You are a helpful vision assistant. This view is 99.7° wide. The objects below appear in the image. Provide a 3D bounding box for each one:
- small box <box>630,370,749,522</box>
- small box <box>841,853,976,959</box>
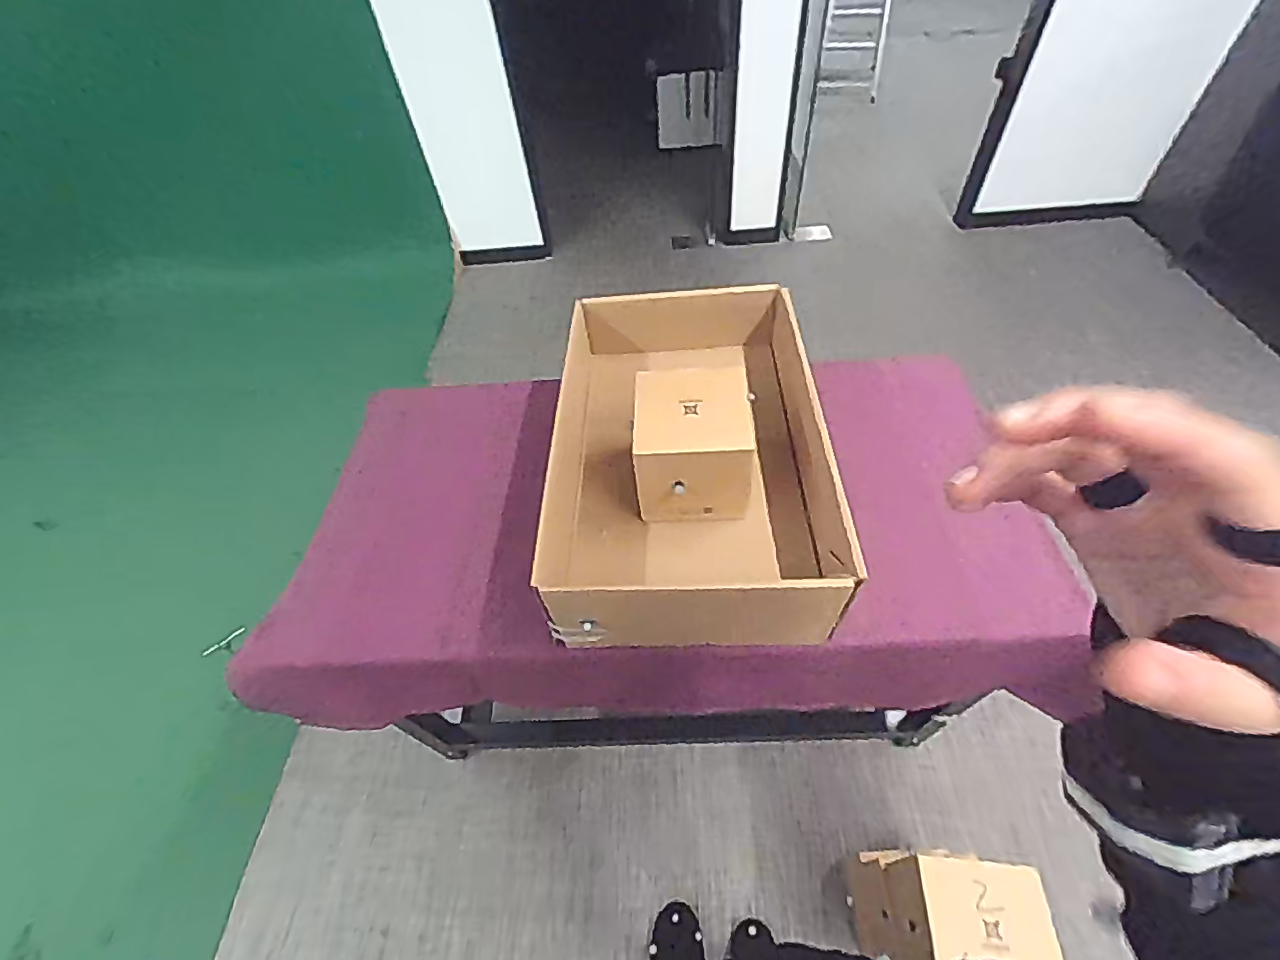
[{"bbox_3d":[0.078,-0.046,0.841,0.168,0.176,0.179,-3,50,5],"label":"small box"},{"bbox_3d":[0.521,0.849,1.079,0.179,0.176,0.168,-5,51,4],"label":"small box"}]
